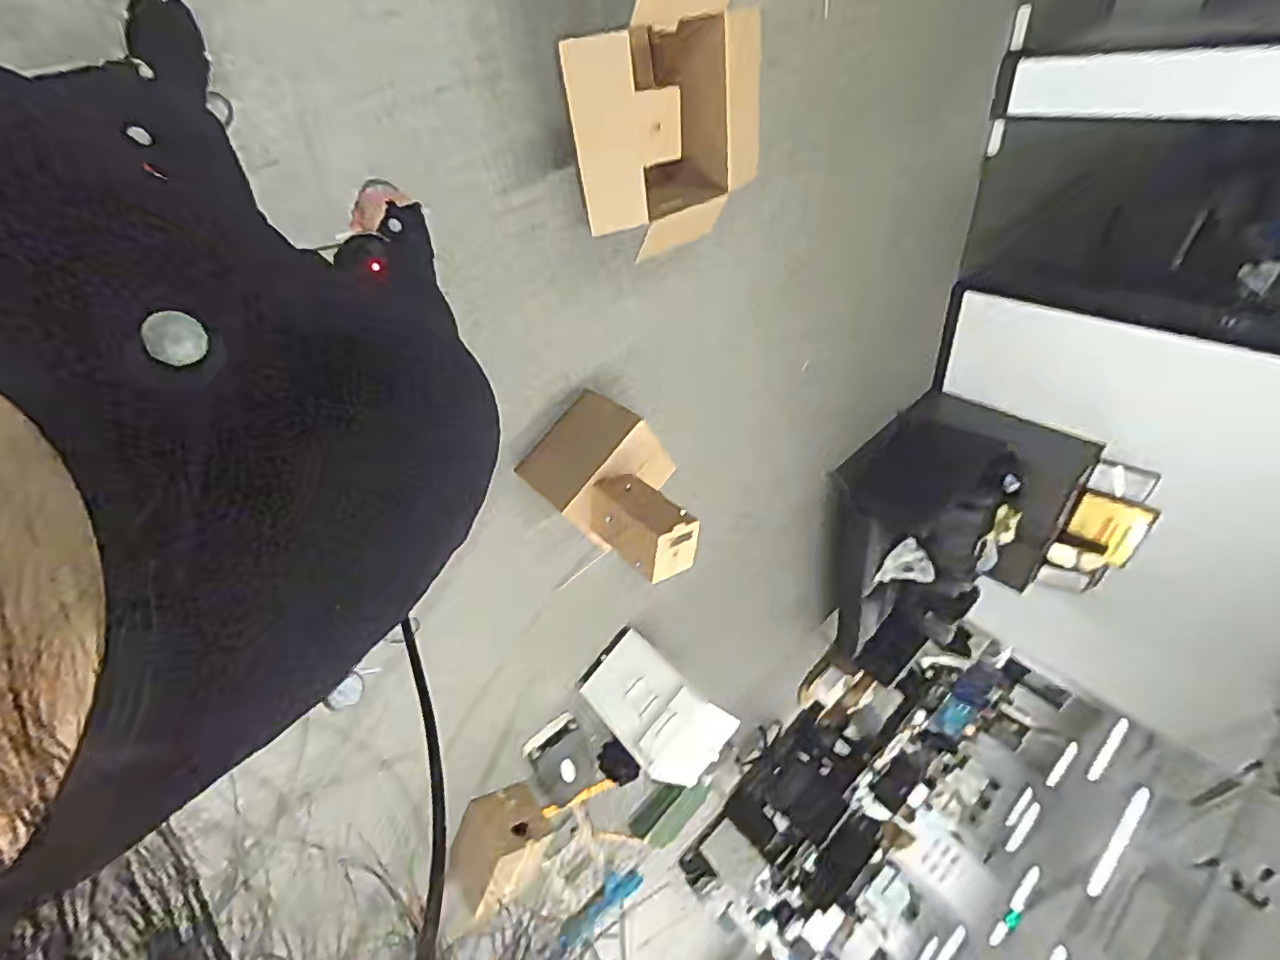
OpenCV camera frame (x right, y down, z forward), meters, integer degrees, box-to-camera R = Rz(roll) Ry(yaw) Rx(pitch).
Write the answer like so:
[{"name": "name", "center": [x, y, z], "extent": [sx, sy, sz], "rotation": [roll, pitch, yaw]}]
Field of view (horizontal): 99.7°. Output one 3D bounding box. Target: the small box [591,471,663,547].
[{"name": "small box", "center": [-0.045, 0.083, 1.758], "extent": [0.168, 0.176, 0.179], "rotation": [-18, 126, -36]}]
